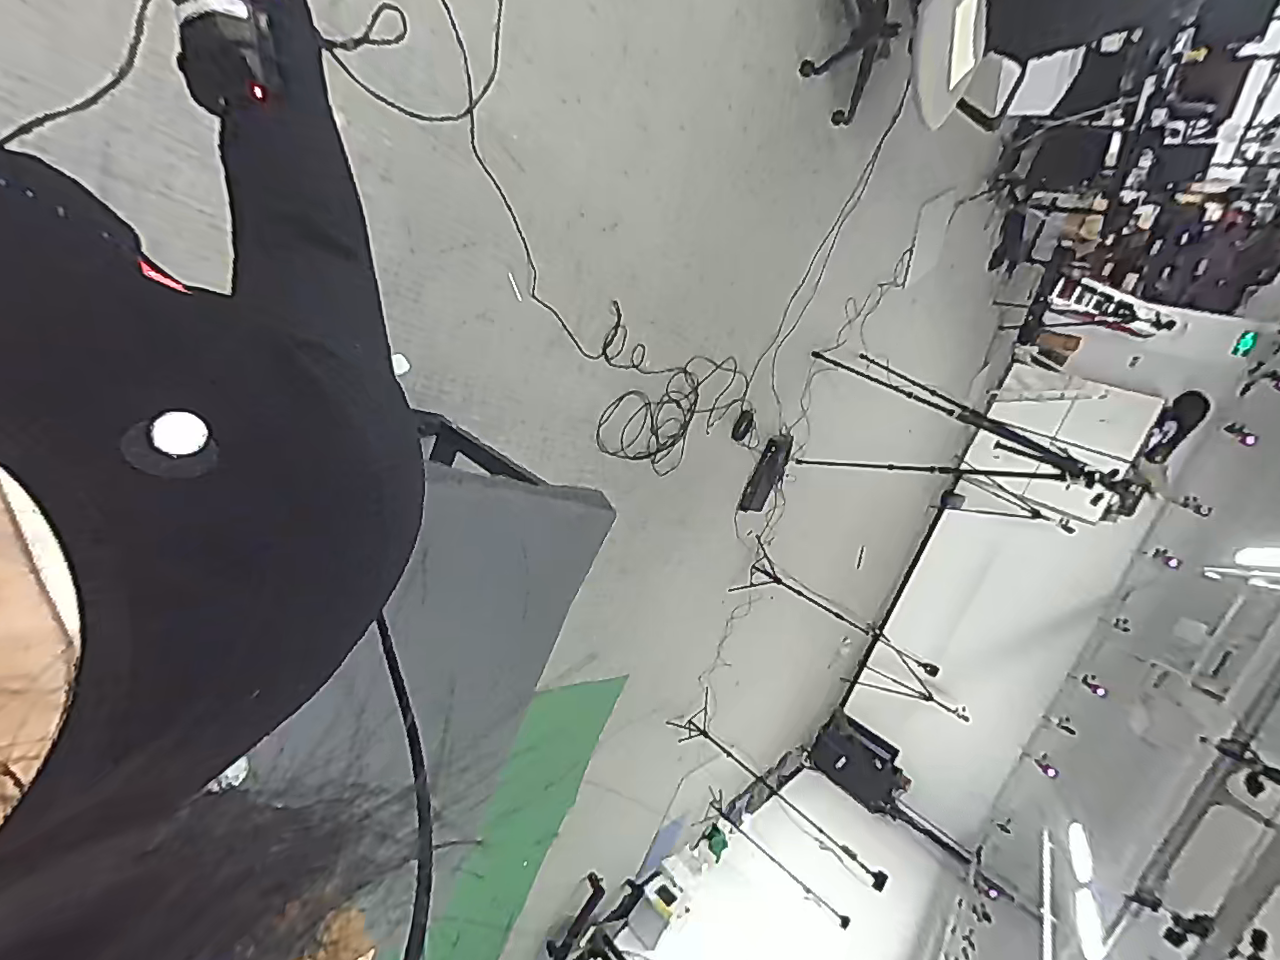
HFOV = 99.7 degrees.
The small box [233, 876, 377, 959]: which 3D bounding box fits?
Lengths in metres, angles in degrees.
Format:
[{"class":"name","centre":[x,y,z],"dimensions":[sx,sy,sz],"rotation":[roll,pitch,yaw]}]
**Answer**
[{"class":"small box","centre":[-0.628,0.892,0.993],"dimensions":[0.179,0.176,0.168],"rotation":[10,104,-56]}]
